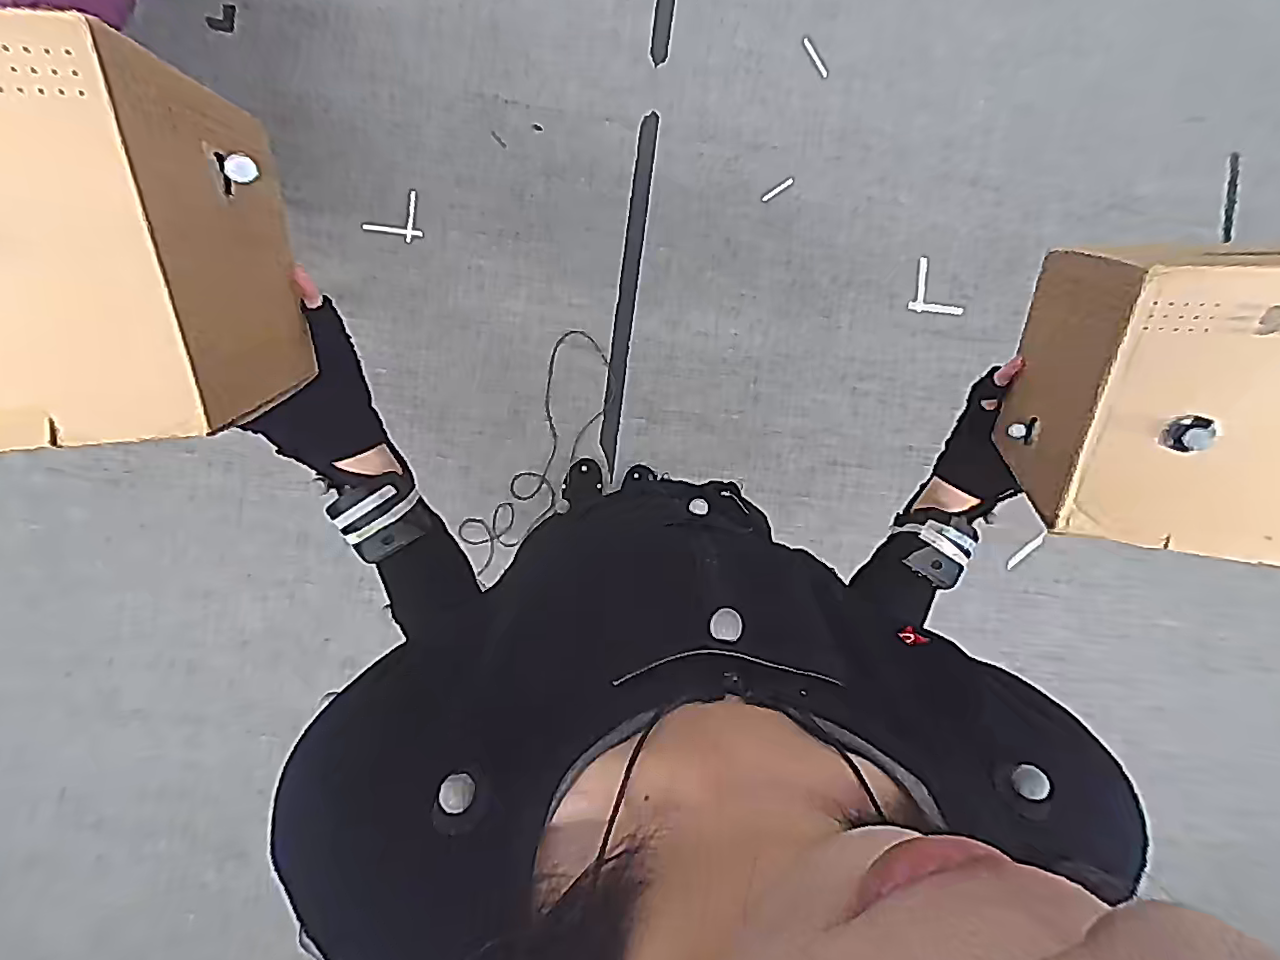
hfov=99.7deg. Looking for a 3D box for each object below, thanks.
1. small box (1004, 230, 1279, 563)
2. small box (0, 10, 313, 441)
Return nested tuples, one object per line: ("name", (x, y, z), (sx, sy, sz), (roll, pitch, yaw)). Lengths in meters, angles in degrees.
("small box", (0.369, -0.065, 0.347), (0.168, 0.179, 0.176), (9, 119, 17))
("small box", (-0.301, -0.121, 0.276), (0.168, 0.179, 0.176), (-6, 112, -13))
